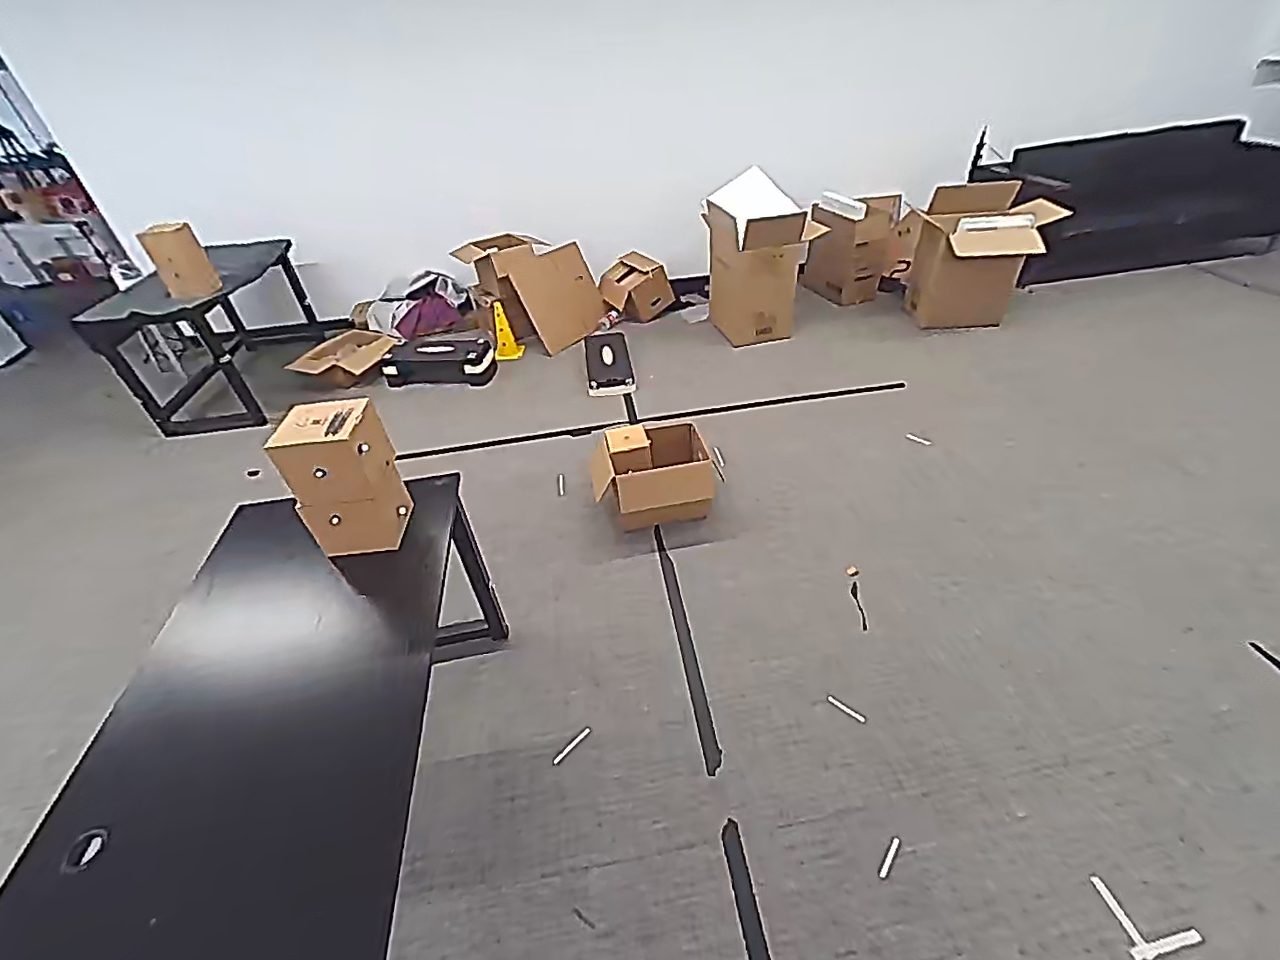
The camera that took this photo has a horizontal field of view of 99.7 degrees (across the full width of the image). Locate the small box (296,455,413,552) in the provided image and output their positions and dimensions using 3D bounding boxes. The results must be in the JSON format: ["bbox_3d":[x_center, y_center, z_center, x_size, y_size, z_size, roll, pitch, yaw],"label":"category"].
[{"bbox_3d":[-0.686,0.061,1.325,0.179,0.176,0.168,-6,41,-1],"label":"small box"}]
